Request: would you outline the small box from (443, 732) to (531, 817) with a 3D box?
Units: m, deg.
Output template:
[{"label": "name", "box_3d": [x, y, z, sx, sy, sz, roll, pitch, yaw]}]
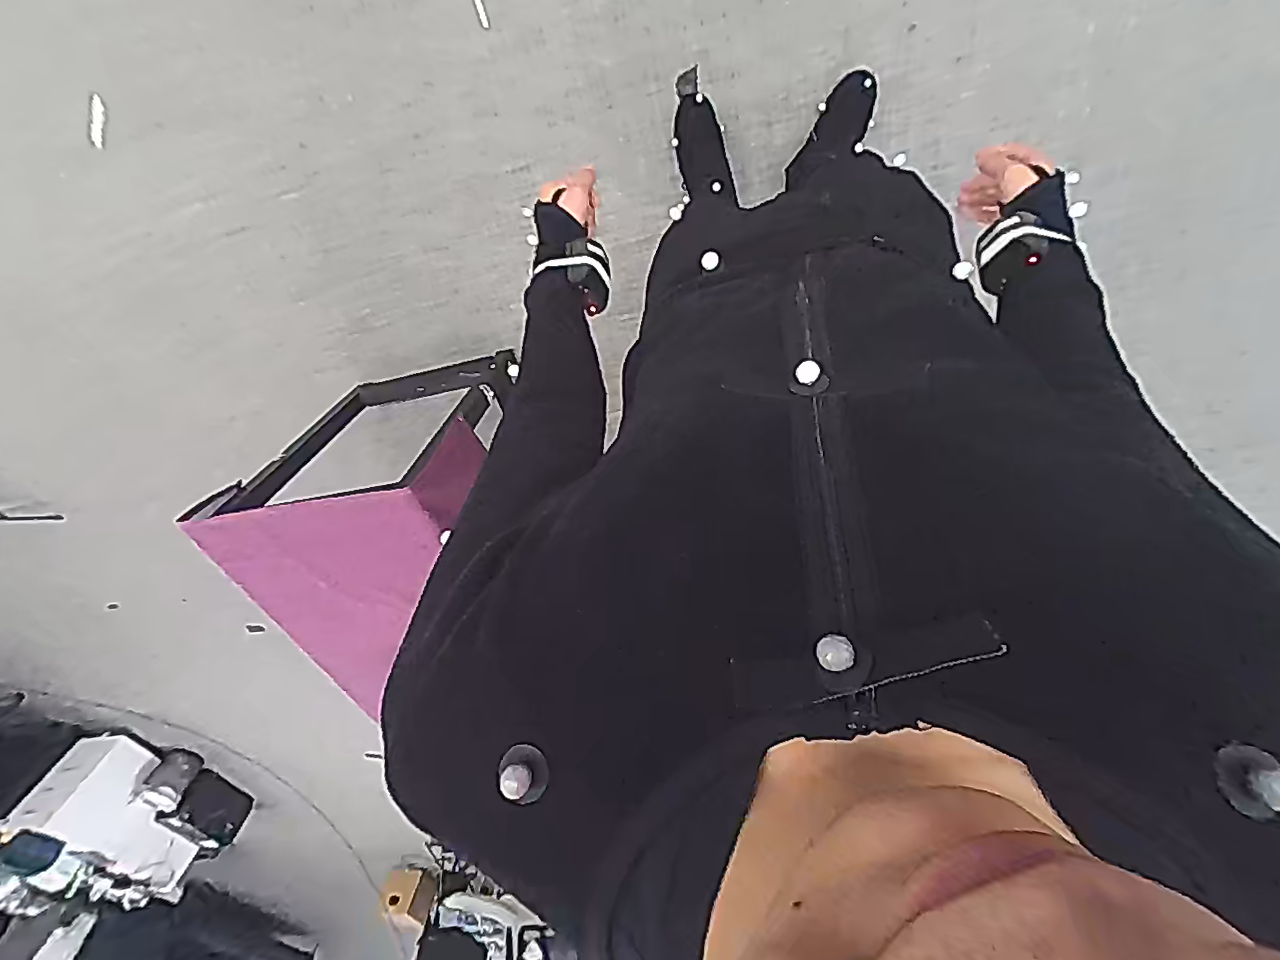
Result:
[{"label": "small box", "box_3d": [-0.441, 0.868, 1.601, 0.179, 0.176, 0.168, -16, 123, 19]}]
